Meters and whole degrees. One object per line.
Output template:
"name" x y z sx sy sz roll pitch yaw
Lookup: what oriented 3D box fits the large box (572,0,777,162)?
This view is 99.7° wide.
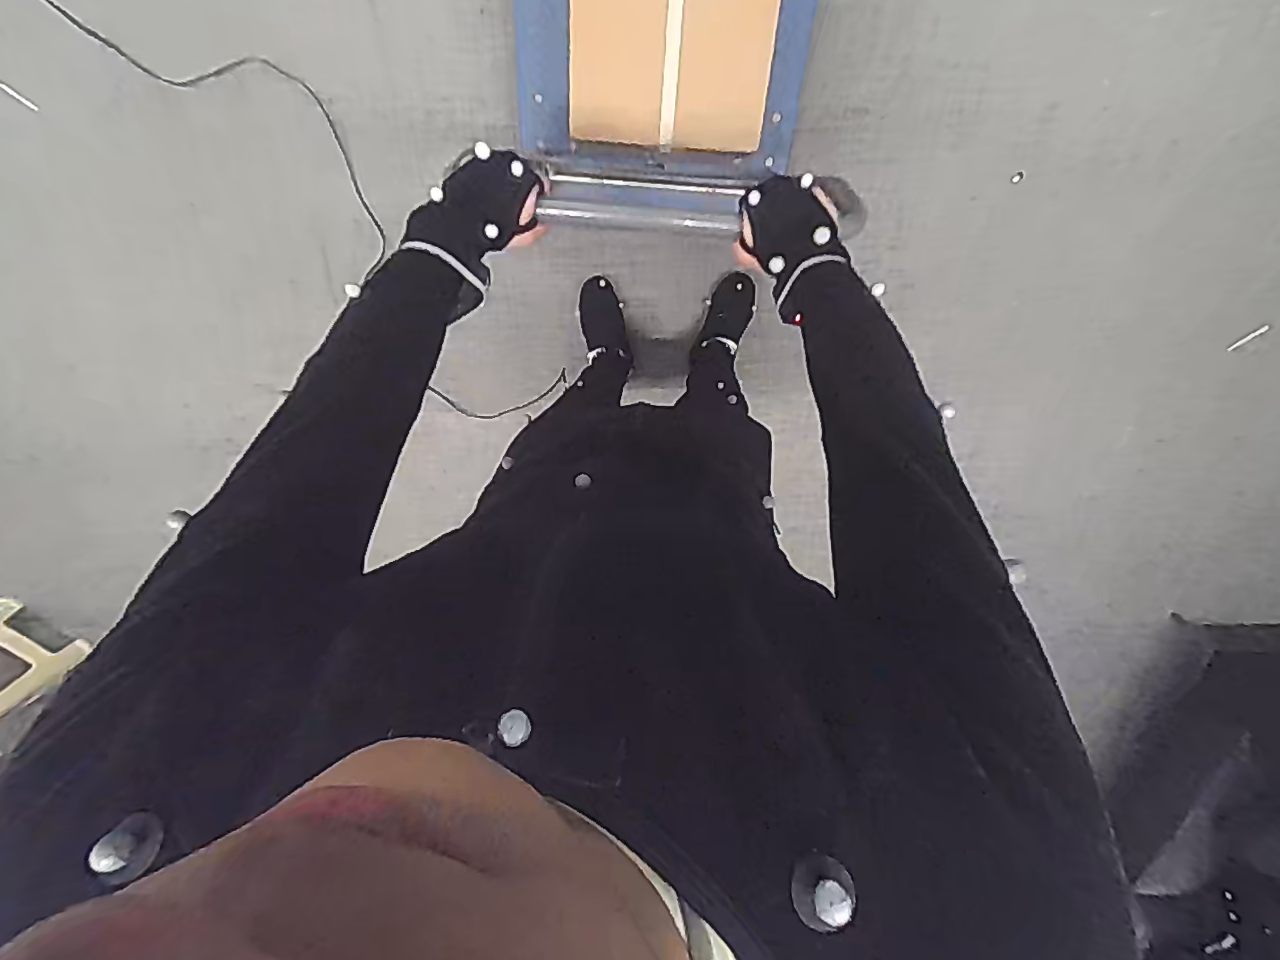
"large box" 0.059 -0.797 0.939 0.320 0.320 0.408 4 118 -1
